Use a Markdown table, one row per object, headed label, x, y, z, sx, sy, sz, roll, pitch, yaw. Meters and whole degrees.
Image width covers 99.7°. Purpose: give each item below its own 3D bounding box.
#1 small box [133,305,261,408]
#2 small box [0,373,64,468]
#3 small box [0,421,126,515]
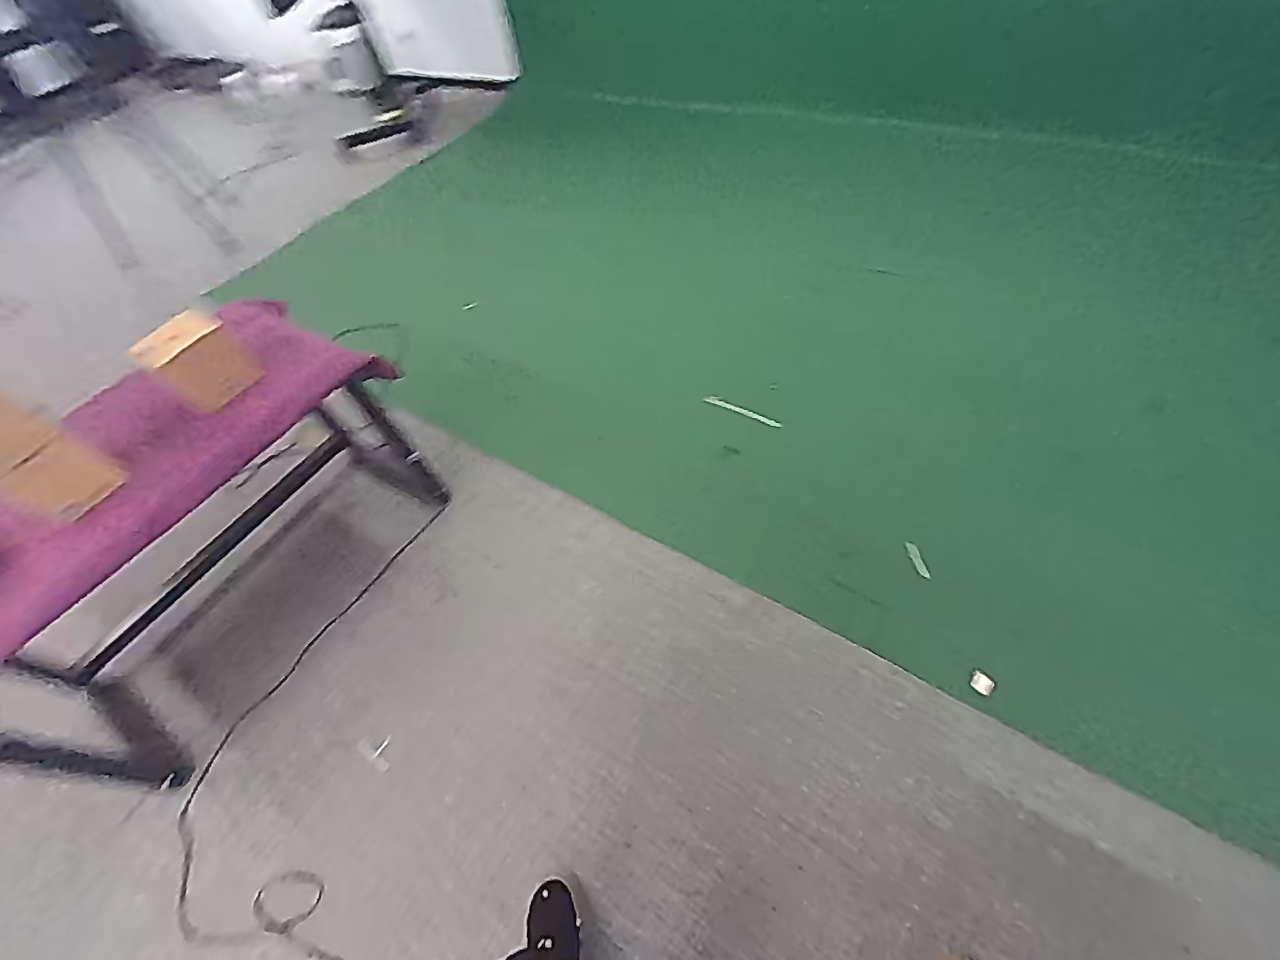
| label | x | y | z | sx | sy | sz | roll | pitch | yaw |
| --- | --- | --- | --- | --- | --- | --- | --- | --- | --- |
| small box | -1.145 | -0.321 | 1.417 | 0.168 | 0.176 | 0.179 | 25 | 62 | 26 |
| small box | -1.381 | -0.136 | 1.118 | 0.168 | 0.176 | 0.179 | 24 | 61 | 24 |
| small box | -1.361 | -0.042 | 1.249 | 0.179 | 0.176 | 0.168 | 23 | 61 | 25 |
